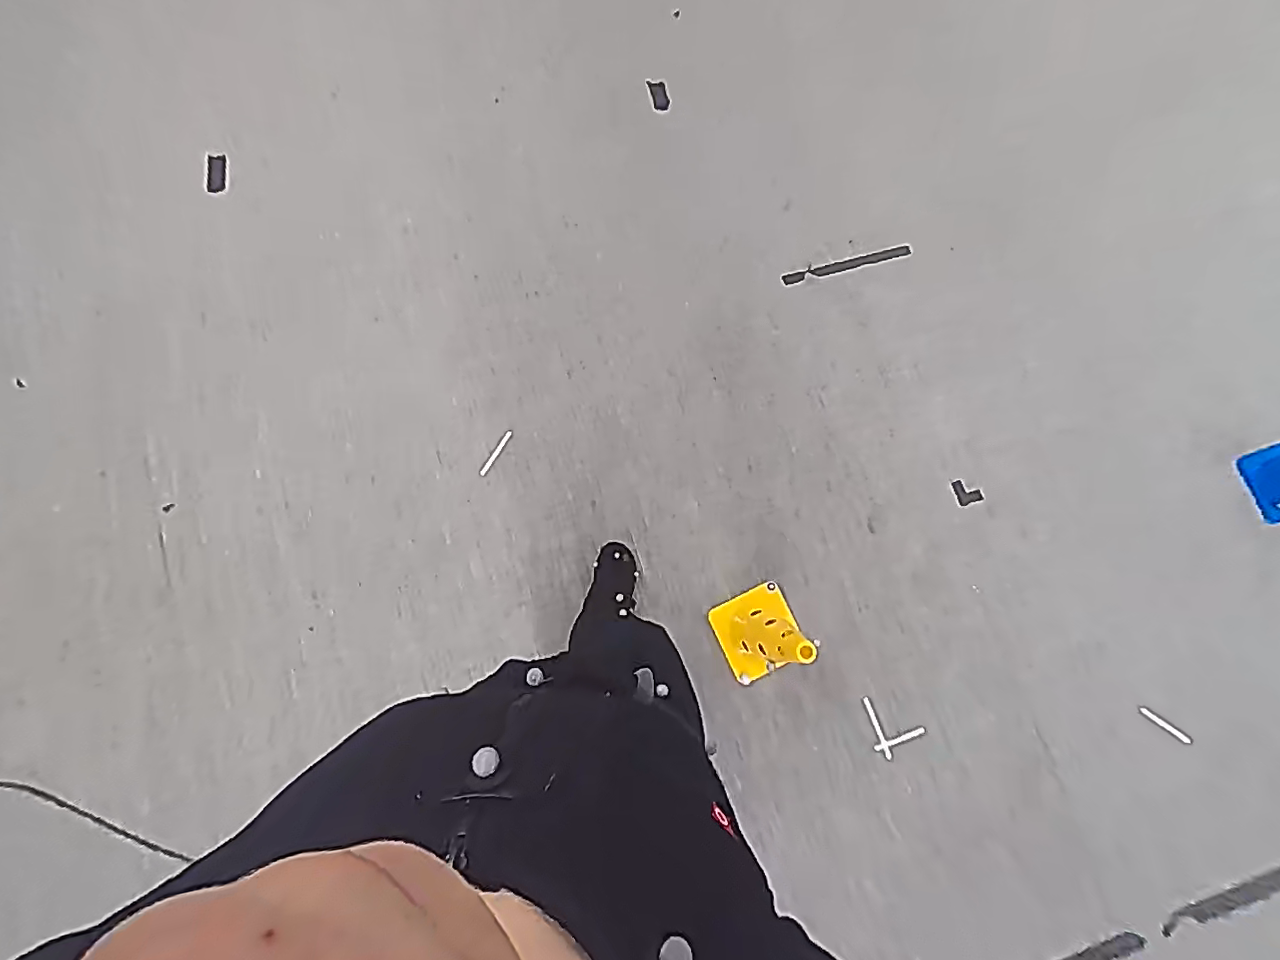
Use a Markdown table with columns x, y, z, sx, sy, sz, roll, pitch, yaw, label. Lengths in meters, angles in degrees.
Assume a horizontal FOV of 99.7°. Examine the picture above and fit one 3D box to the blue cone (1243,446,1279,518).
| x | y | z | sx | sy | sz | roll | pitch | yaw | label |
| --- | --- | --- | --- | --- | --- | --- | --- | --- | --- |
| 1.788 | -0.032 | 1.331 | 0.193 | 0.380 | 0.192 | -17 | 80 | -6 | blue cone |
